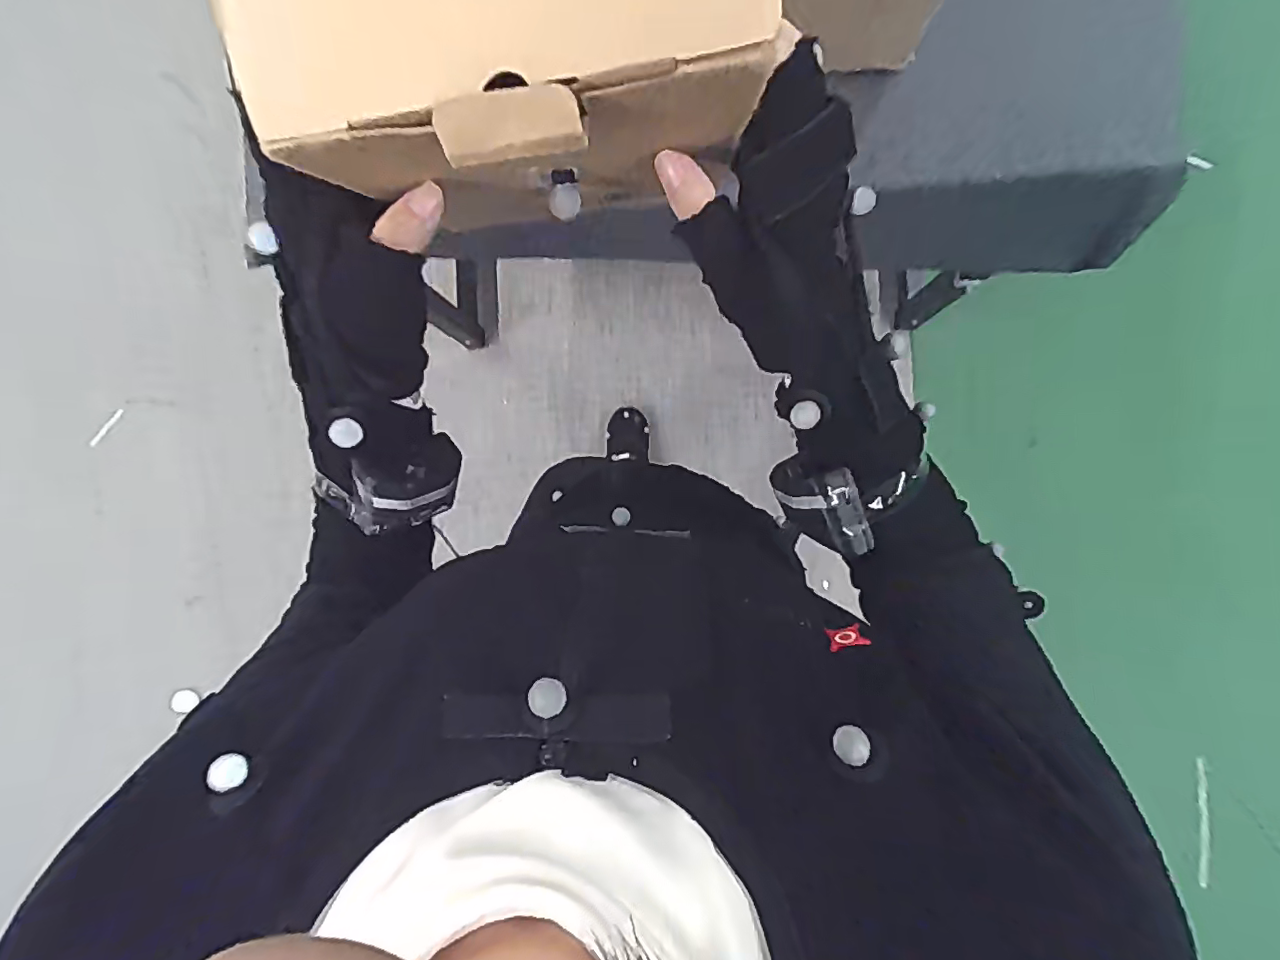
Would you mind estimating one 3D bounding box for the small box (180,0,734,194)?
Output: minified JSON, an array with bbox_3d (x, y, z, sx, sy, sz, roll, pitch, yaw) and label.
[{"bbox_3d":[-0.055,-0.225,0.212,0.168,0.176,0.179,-5,108,5],"label":"small box"}]
